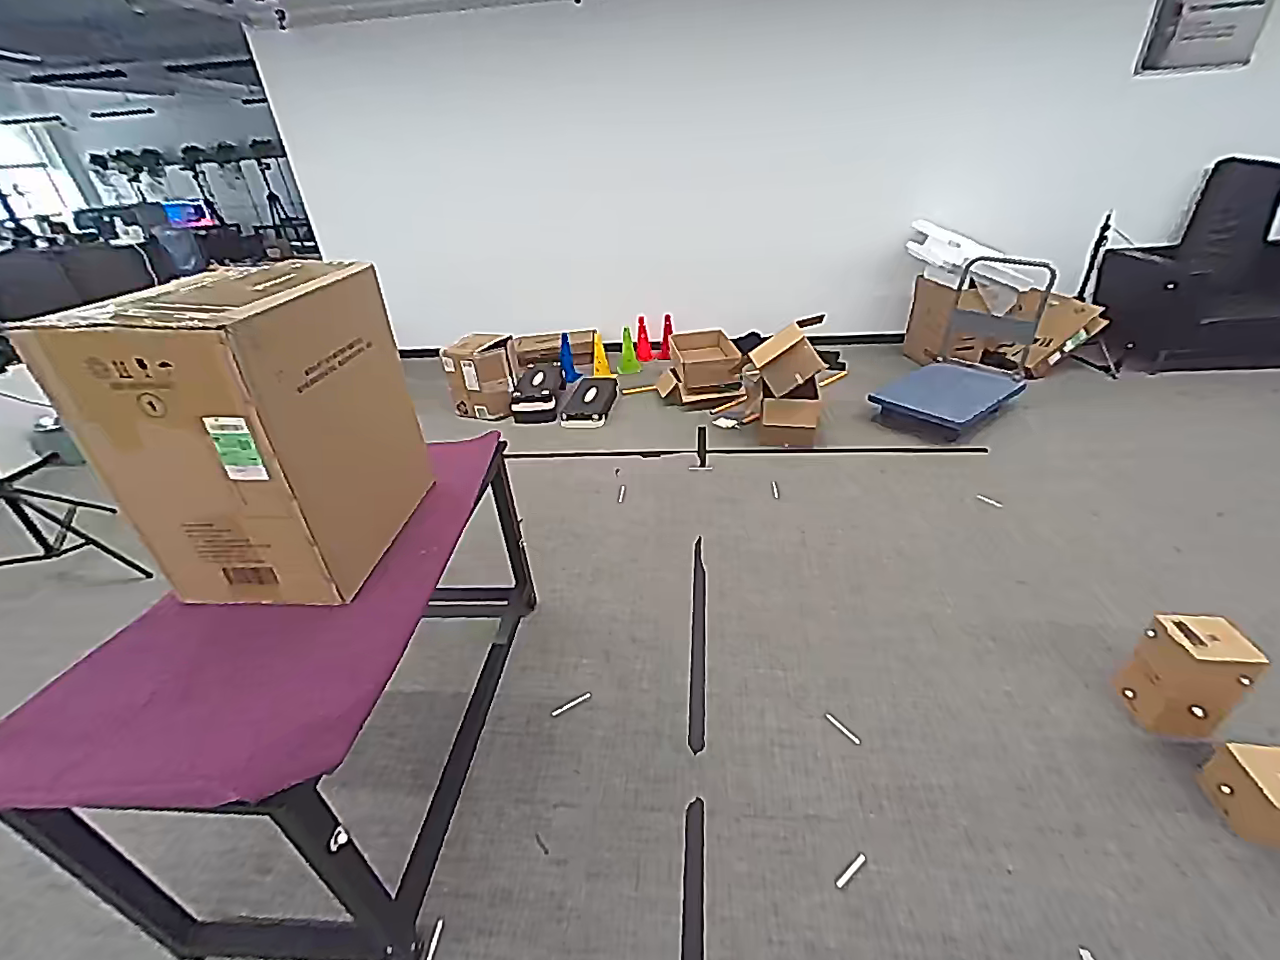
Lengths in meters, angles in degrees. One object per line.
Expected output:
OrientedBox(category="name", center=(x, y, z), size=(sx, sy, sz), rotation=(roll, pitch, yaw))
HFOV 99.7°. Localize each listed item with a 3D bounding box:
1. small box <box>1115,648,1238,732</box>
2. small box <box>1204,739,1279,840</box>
OrientedBox(category="small box", center=(1.587, 0.629, 1.614), size=(0.179, 0.176, 0.168), rotation=(1, 31, 9))
OrientedBox(category="small box", center=(1.586, 0.781, 1.355), size=(0.179, 0.176, 0.168), rotation=(1, 32, 9))
